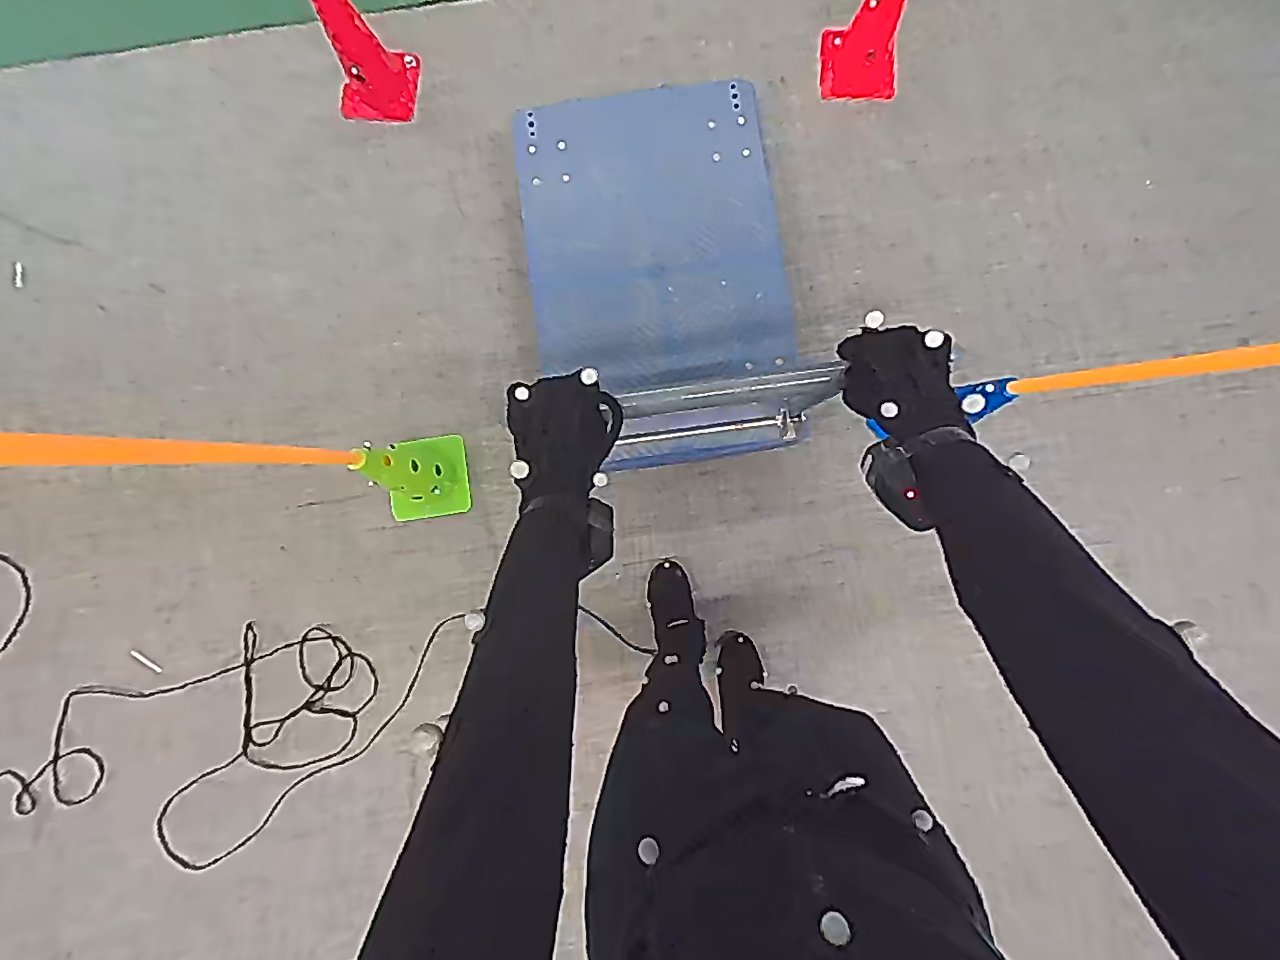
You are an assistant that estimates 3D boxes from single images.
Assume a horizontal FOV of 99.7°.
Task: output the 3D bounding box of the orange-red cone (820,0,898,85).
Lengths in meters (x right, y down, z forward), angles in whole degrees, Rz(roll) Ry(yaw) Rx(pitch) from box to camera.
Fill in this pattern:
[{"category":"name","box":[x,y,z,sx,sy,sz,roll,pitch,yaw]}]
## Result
[{"category":"orange-red cone","box":[0.570,-1.146,1.256,0.198,0.360,0.199,3,87,2]}]
